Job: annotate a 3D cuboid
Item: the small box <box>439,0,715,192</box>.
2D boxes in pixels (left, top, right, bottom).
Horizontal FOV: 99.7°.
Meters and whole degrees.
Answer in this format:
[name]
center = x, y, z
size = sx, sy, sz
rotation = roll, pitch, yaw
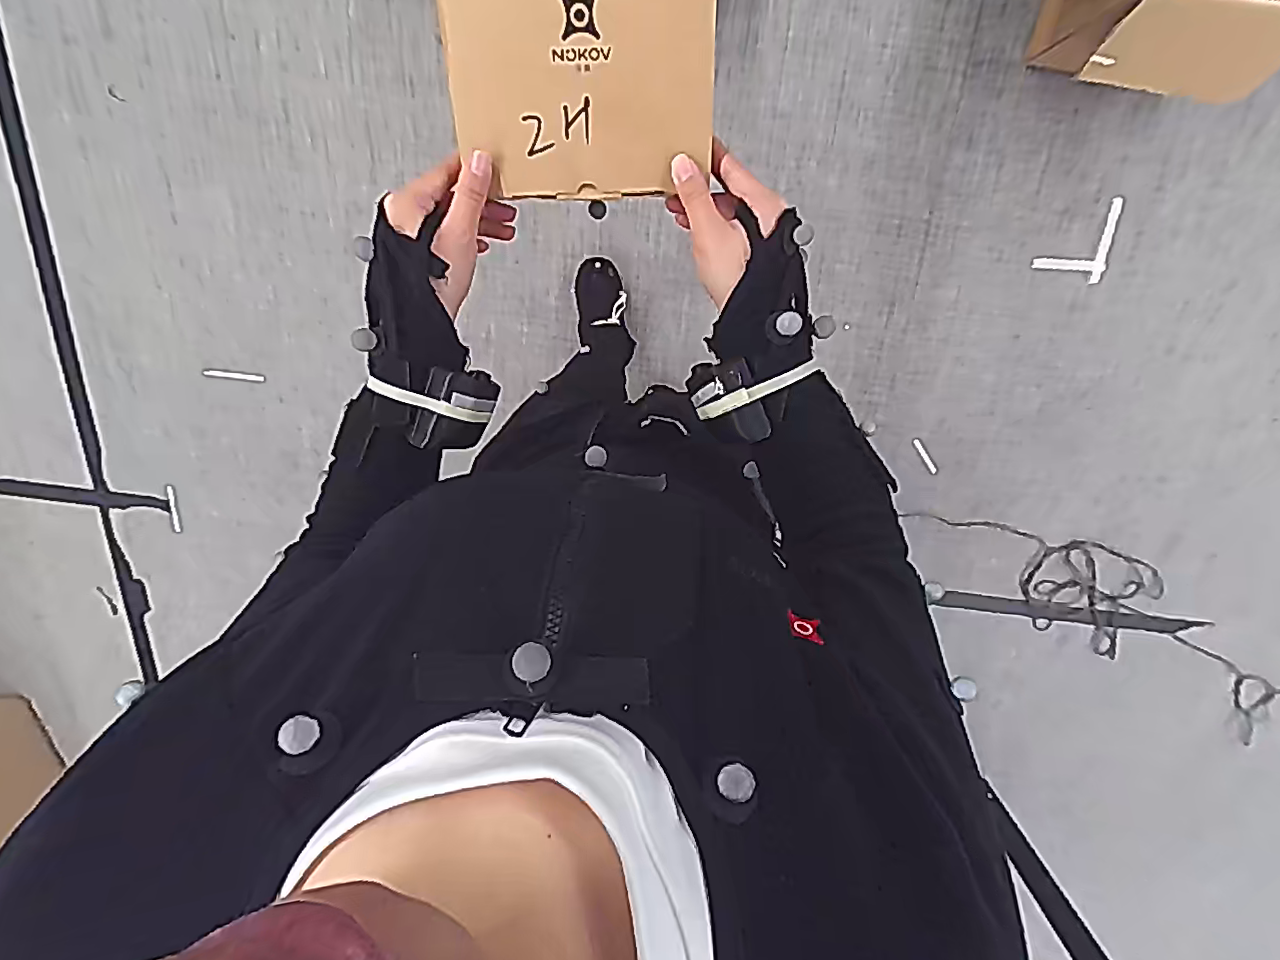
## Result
[small box]
center = -0.039, -0.311, 0.393
size = 0.168, 0.176, 0.179
rotation = -1, 118, 0
